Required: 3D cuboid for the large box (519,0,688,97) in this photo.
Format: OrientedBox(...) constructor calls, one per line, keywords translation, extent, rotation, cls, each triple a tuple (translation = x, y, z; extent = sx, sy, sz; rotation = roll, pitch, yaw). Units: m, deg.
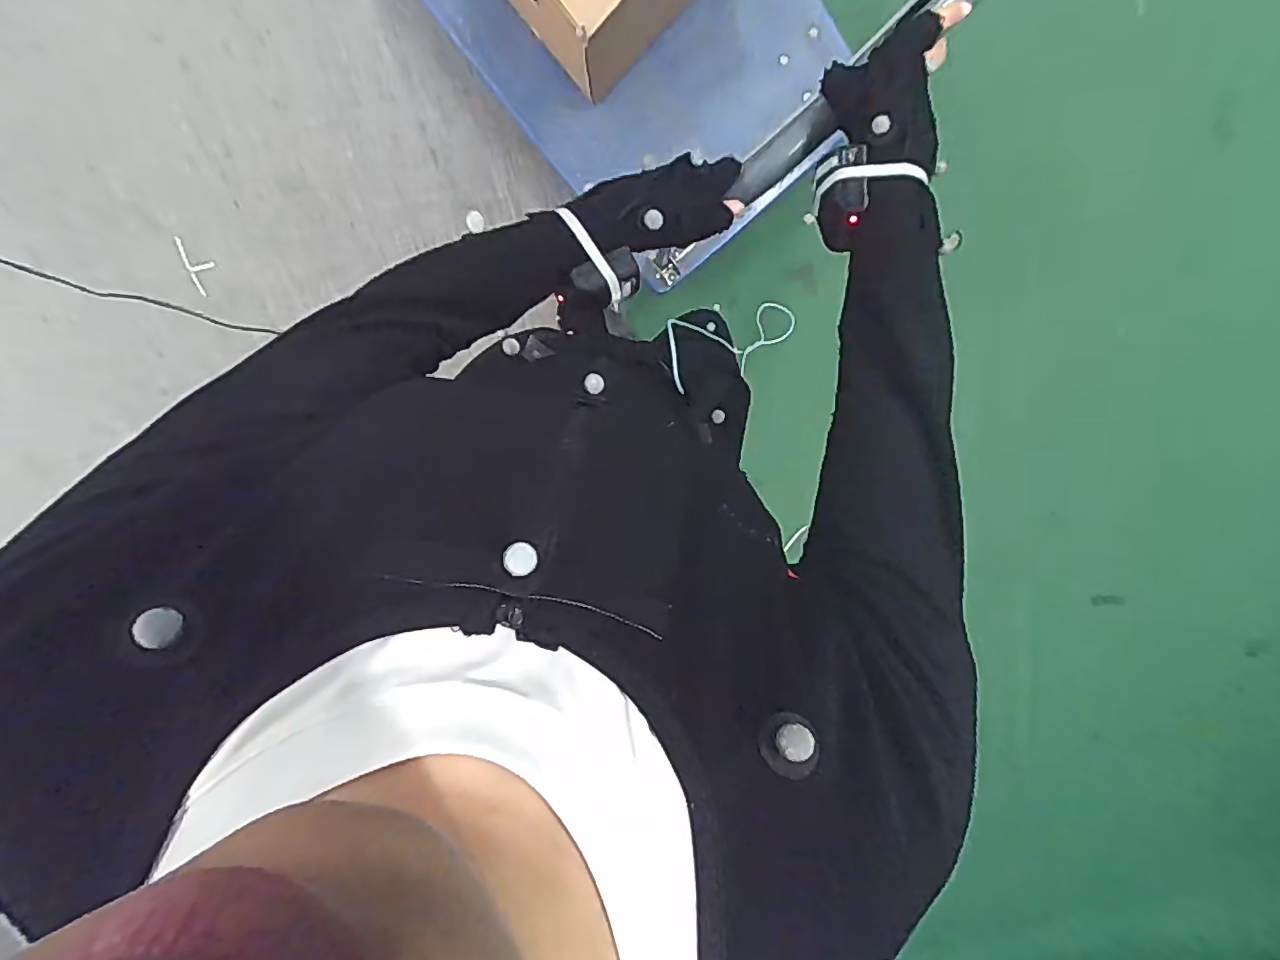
OrientedBox(translation=(-0.031, -0.923, 0.839), extent=(0.408, 0.320, 0.320), rotation=(-42, 106, 13), cls="large box")
